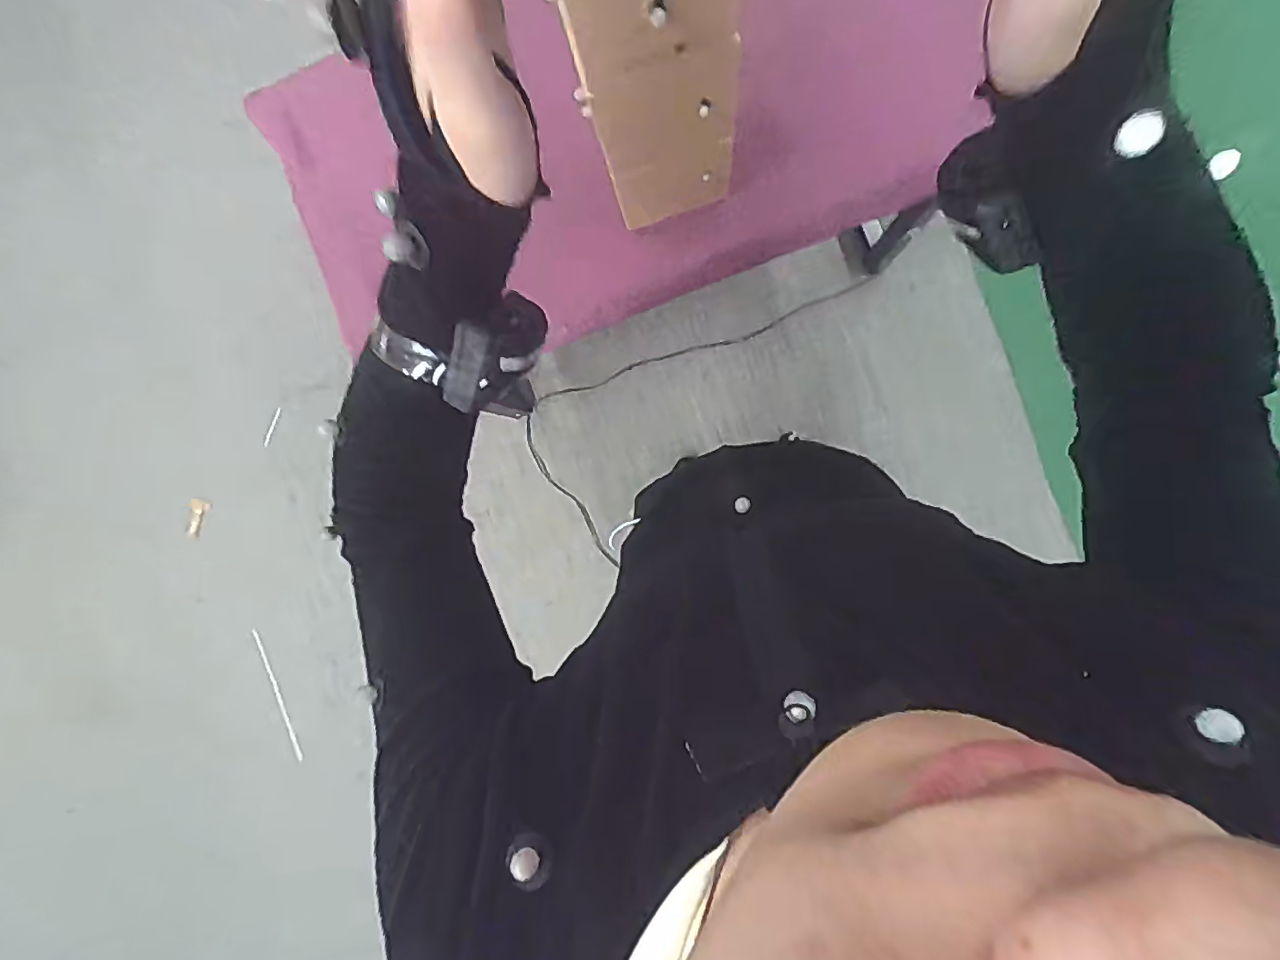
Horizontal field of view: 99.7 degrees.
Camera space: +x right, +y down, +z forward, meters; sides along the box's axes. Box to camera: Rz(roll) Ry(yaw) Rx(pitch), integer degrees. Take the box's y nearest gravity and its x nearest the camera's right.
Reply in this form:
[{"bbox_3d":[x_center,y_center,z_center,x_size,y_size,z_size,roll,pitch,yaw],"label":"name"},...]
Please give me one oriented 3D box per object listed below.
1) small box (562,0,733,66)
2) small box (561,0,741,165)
[{"bbox_3d":[-0.010,-0.529,0.494,0.168,0.176,0.179,-16,90,7],"label":"small box"},{"bbox_3d":[0.012,-0.527,0.655,0.179,0.176,0.168,-16,89,8],"label":"small box"}]
